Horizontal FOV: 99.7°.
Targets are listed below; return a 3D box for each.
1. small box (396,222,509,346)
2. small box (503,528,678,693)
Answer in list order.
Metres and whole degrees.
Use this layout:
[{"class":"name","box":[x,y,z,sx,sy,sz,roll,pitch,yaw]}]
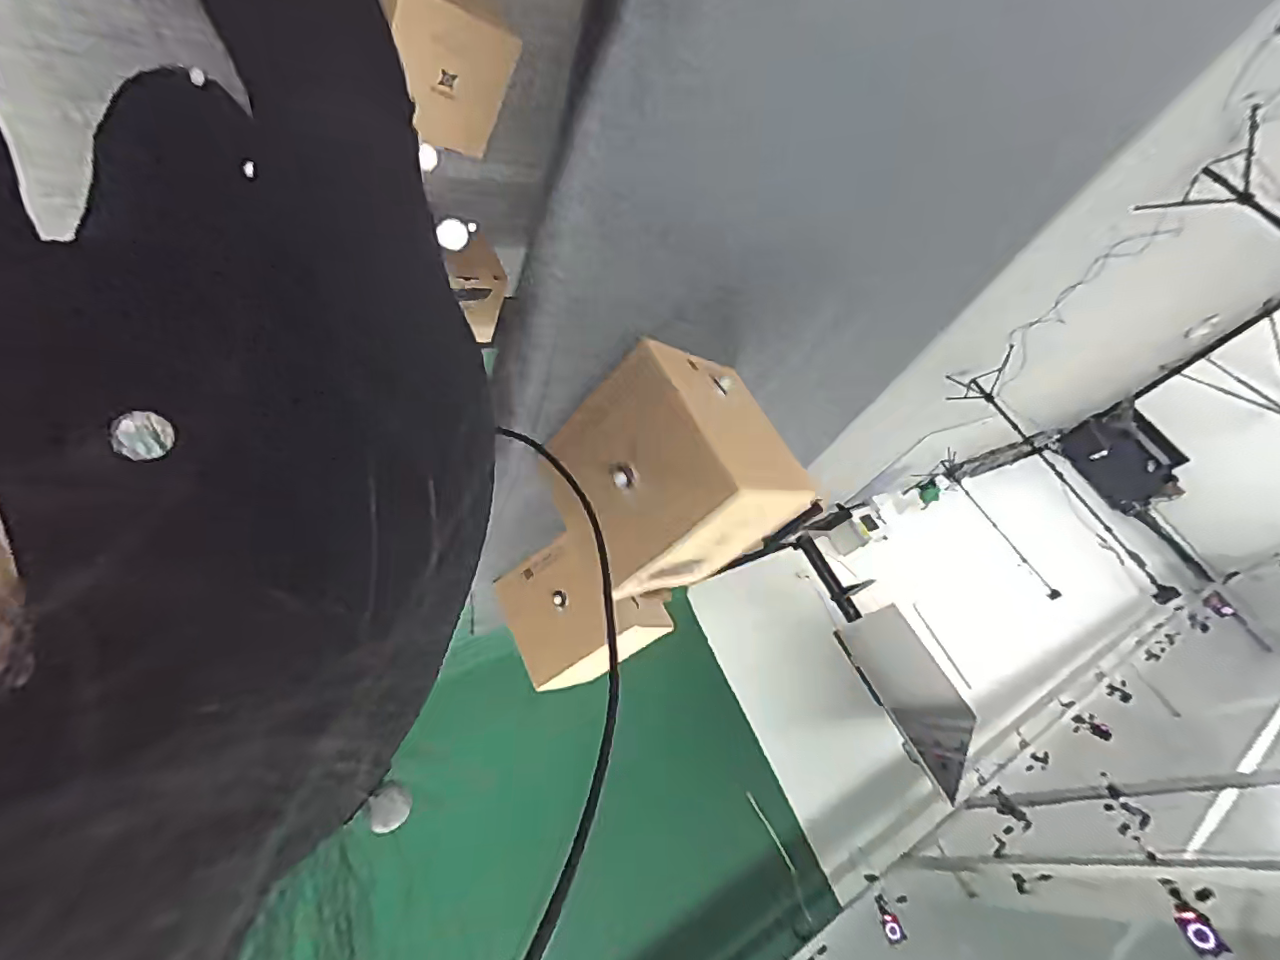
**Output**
[{"class":"small box","box":[-0.390,-0.397,1.106,0.168,0.176,0.179,-10,152,-34]},{"class":"small box","box":[-0.074,0.190,0.804,0.168,0.176,0.179,-35,156,9]}]
